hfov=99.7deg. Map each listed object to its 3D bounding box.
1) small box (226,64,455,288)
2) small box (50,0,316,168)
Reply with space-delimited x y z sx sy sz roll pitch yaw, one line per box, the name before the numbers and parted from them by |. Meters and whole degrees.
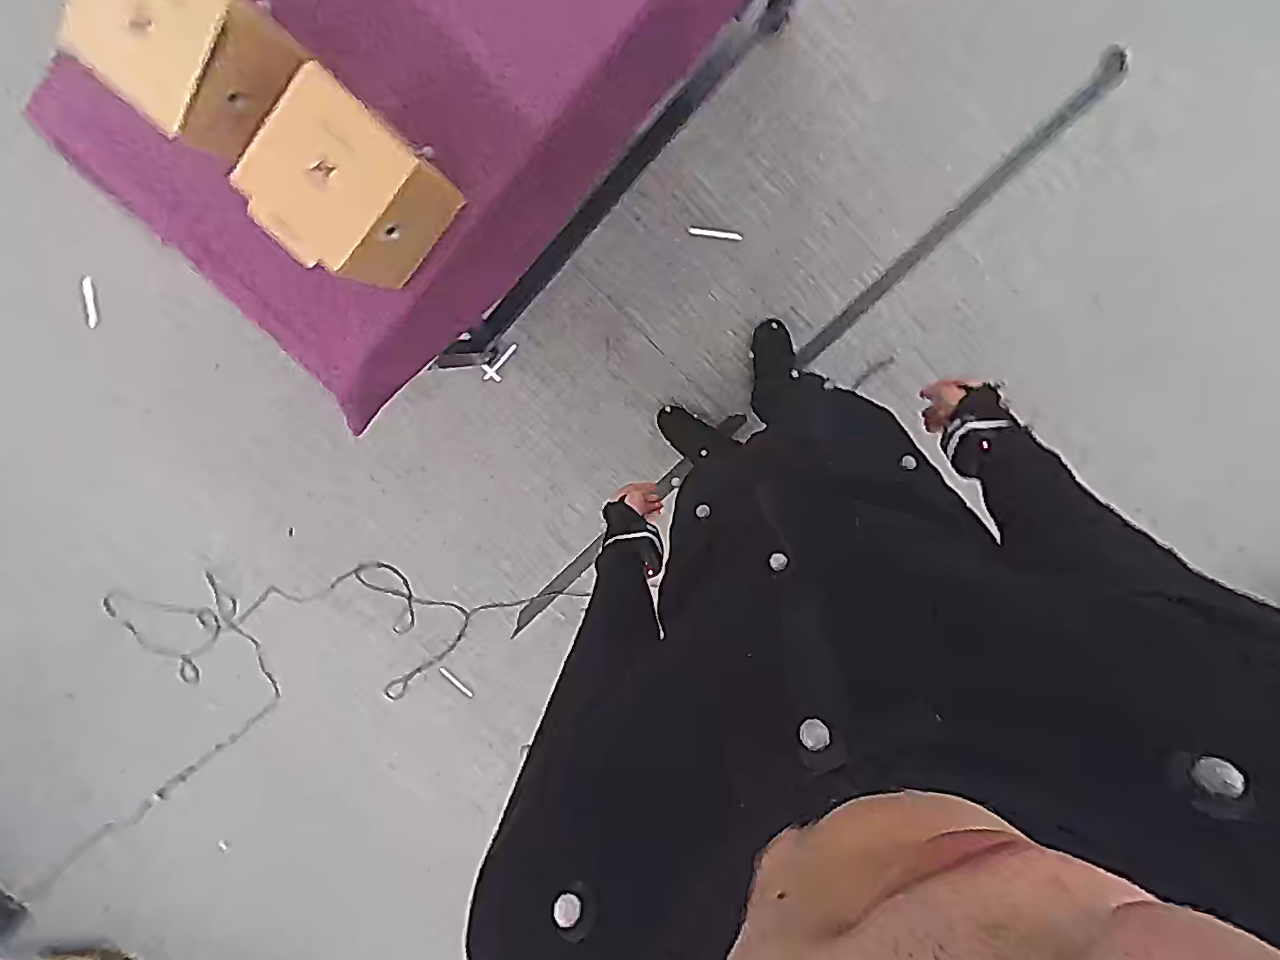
small box | -0.382 -0.382 0.724 0.168 0.176 0.179 42 102 -7
small box | -0.567 -0.535 0.697 0.168 0.176 0.179 40 102 -7
